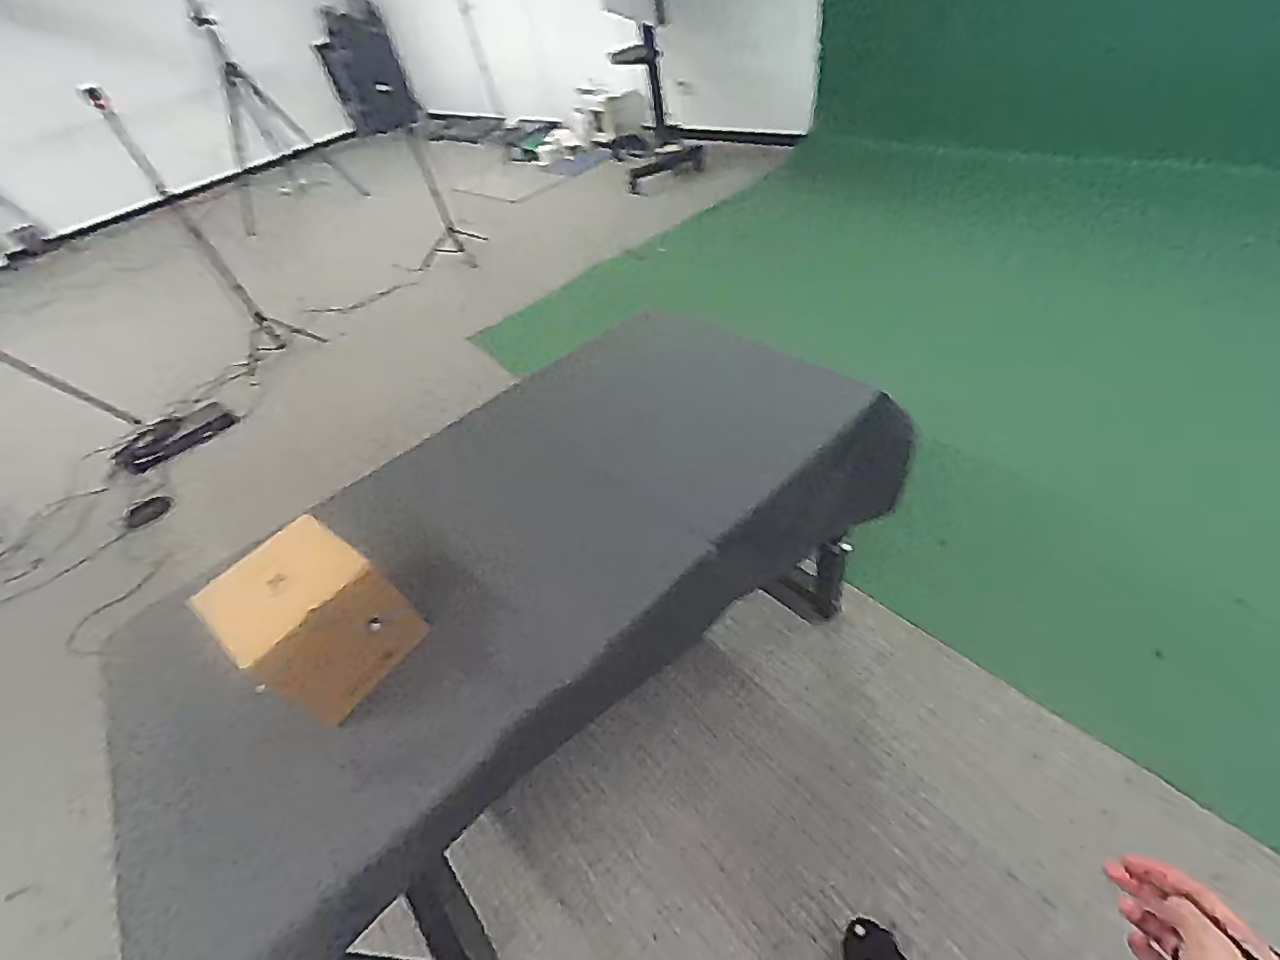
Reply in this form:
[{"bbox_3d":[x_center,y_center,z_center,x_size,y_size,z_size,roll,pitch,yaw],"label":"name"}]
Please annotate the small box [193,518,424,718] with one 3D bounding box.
[{"bbox_3d":[-0.426,0.186,0.721,0.179,0.176,0.168,21,53,32],"label":"small box"}]
